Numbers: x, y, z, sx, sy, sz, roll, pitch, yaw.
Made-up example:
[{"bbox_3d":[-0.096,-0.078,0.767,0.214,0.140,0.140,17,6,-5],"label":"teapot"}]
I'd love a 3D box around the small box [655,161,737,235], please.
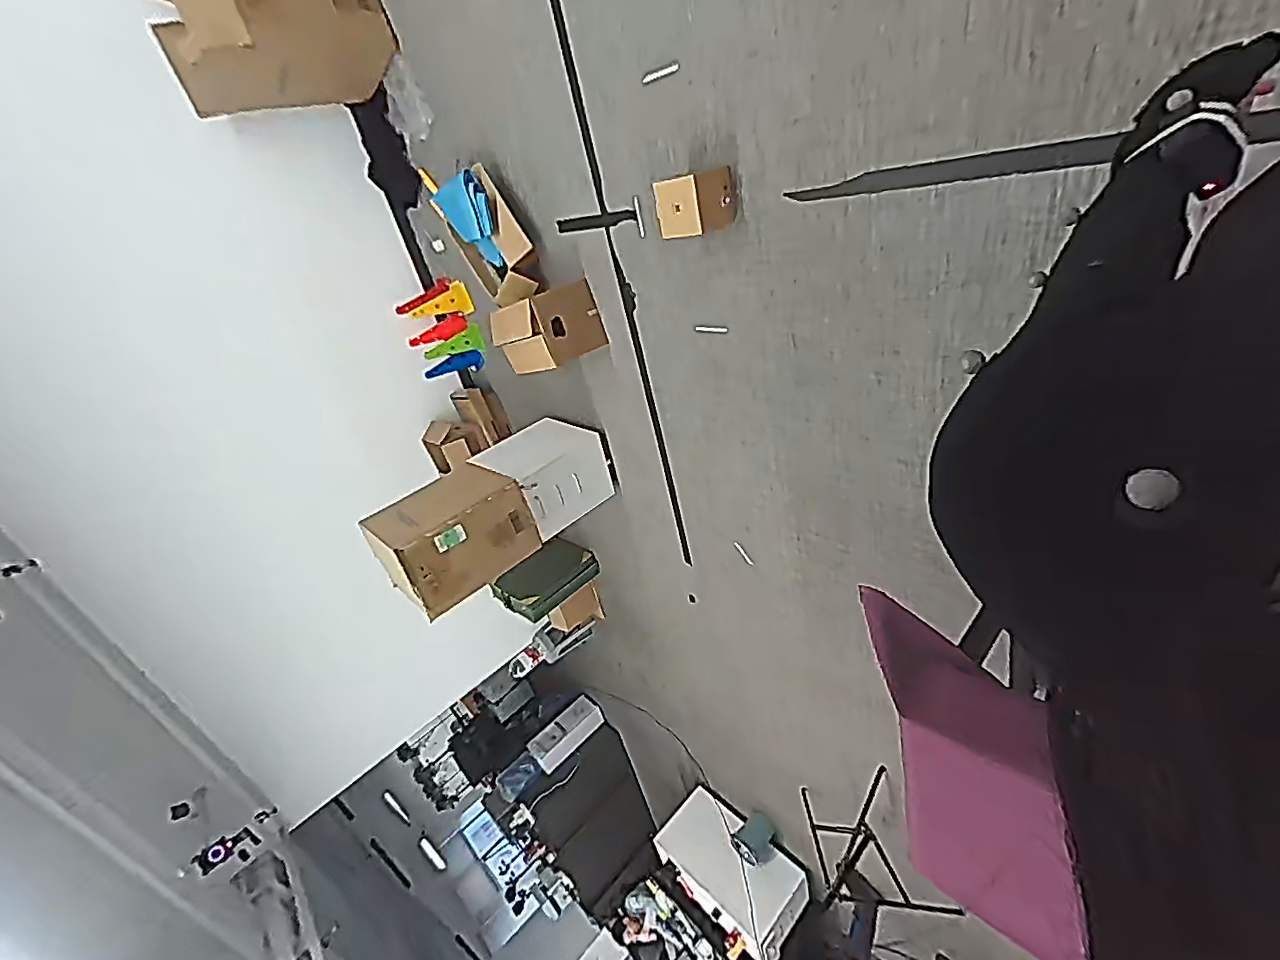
[{"bbox_3d":[0.179,-0.879,1.690,0.179,0.176,0.168,18,134,45],"label":"small box"}]
